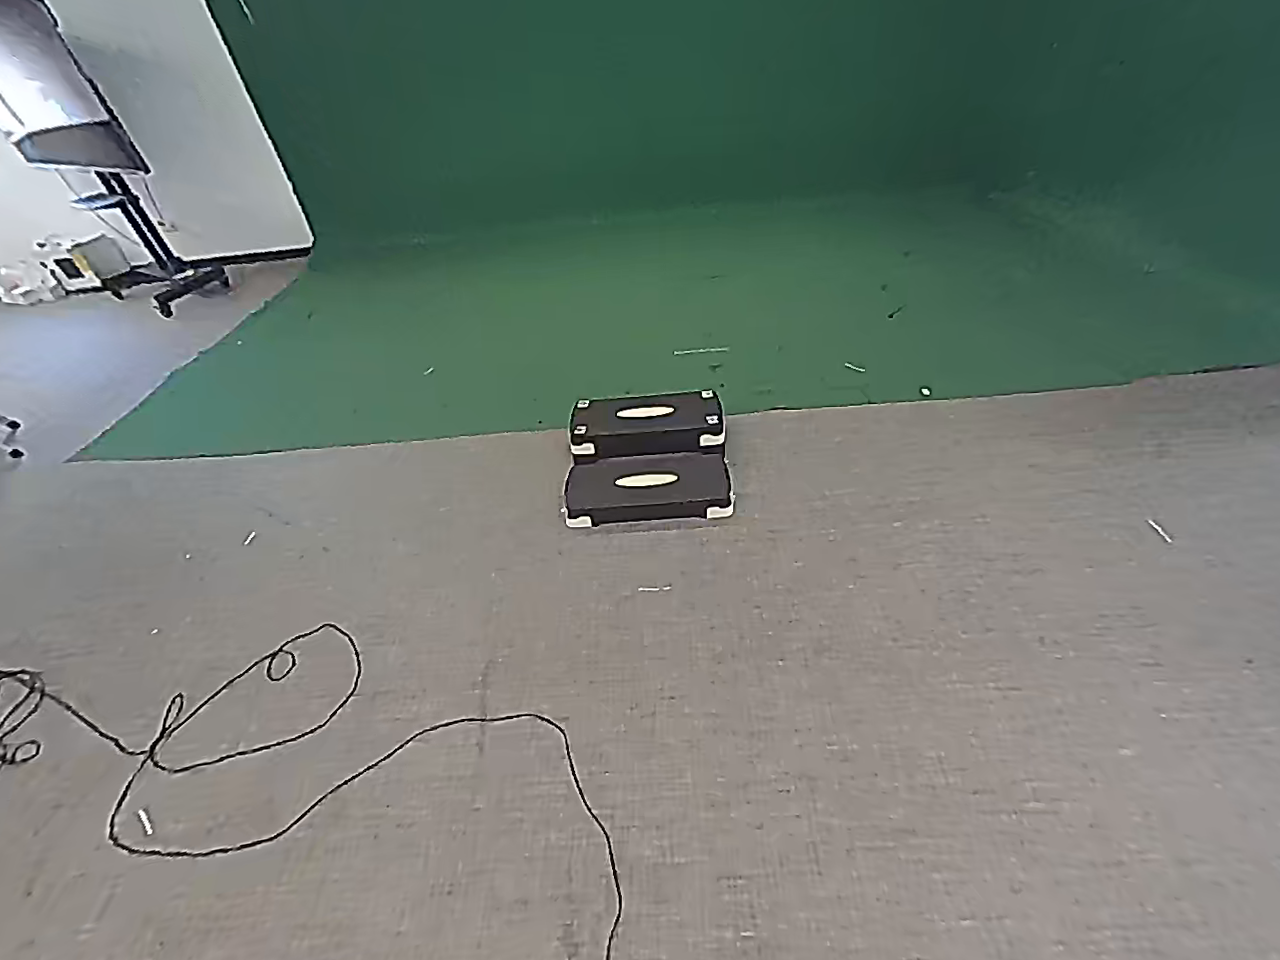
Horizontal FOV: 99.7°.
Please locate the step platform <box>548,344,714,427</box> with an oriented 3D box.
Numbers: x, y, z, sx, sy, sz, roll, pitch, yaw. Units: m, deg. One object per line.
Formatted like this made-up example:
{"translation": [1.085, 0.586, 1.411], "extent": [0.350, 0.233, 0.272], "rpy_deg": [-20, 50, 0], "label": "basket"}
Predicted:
{"translation": [-0.031, -0.401, 2.296], "extent": [0.684, 0.204, 0.286], "rpy_deg": [-5, 42, 4], "label": "step platform"}
